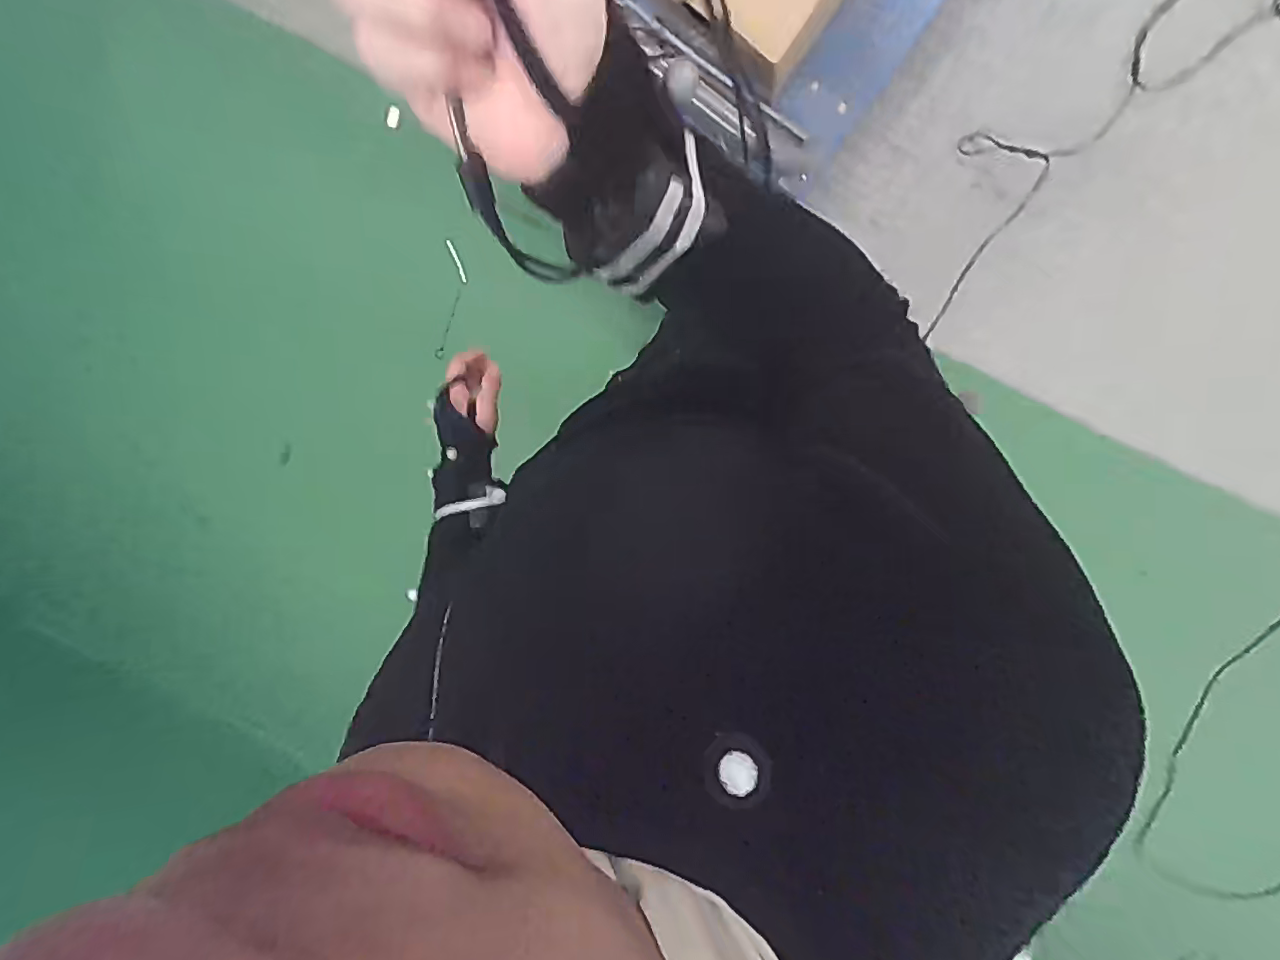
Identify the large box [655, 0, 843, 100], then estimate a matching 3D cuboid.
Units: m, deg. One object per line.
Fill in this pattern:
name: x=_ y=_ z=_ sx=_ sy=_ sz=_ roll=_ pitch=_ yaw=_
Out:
large box: x=0.237 y=-0.947 z=0.886 sx=0.320 sy=0.320 sz=0.408 roll=36 pitch=116 yaw=-6
